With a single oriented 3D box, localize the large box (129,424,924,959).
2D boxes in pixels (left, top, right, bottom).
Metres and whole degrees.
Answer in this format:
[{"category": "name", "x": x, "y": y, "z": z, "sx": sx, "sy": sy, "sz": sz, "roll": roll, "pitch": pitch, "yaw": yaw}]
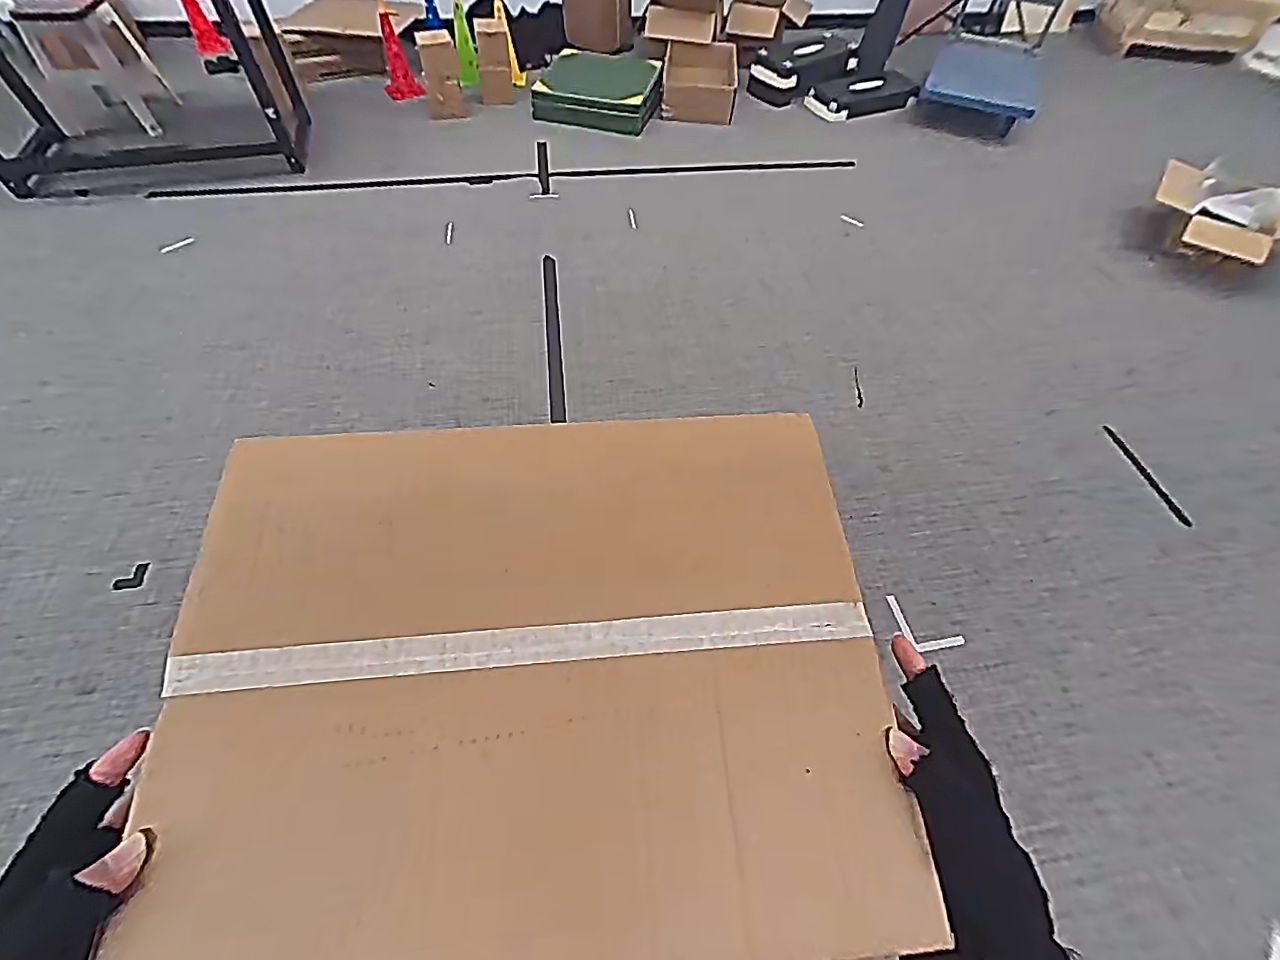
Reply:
[{"category": "large box", "x": -0.068, "y": 0.173, "z": 0.464, "sx": 0.408, "sy": 0.320, "sz": 0.320, "roll": -3, "pitch": 64, "yaw": -4}]
